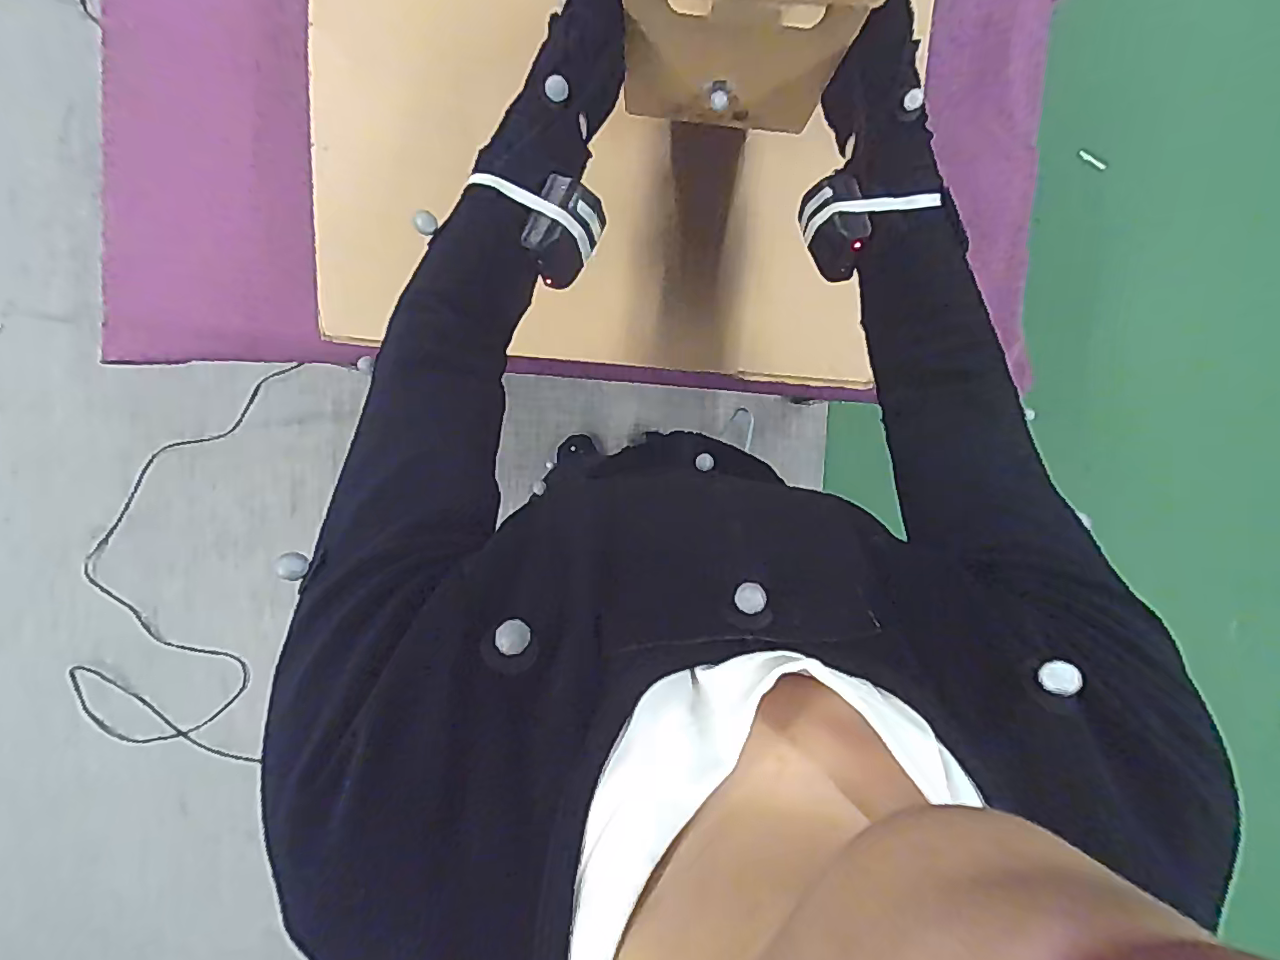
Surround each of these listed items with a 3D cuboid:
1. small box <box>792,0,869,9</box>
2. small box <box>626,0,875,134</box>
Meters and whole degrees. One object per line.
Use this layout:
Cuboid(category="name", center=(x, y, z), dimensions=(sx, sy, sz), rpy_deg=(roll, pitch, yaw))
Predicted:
Cuboid(category="small box", center=(0.078, -0.378, 0.248), dimensions=(0.168, 0.176, 0.179), rpy_deg=(5, 97, -1))
Cuboid(category="small box", center=(0.079, -0.405, 0.409), dimensions=(0.168, 0.176, 0.179), rpy_deg=(7, 97, 0))
